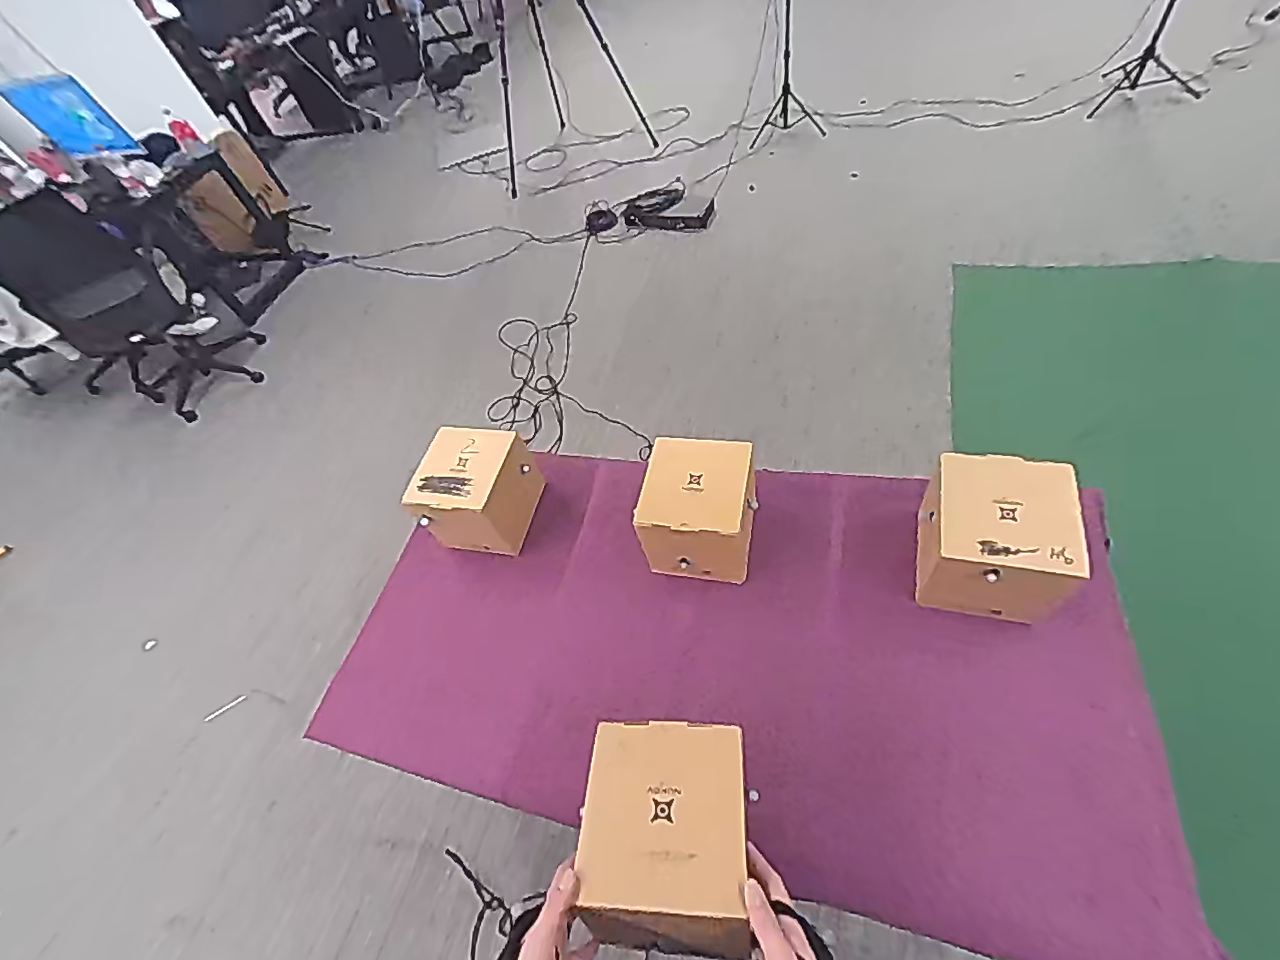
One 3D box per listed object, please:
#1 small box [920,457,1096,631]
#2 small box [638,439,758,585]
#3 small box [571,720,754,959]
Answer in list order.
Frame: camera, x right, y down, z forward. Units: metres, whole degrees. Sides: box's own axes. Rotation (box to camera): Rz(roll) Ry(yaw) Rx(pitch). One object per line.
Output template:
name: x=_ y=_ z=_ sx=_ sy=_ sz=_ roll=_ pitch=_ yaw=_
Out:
small box: x=0.514 y=0.093 z=0.784 sx=0.168 sy=0.176 sz=0.179 roll=7 pitch=57 yaw=20
small box: x=0.106 y=0.054 z=0.911 sx=0.168 sy=0.176 sz=0.179 roll=5 pitch=57 yaw=16
small box: x=0.036 y=0.390 z=0.589 sx=0.168 sy=0.176 sz=0.179 roll=-2 pitch=39 yaw=10
